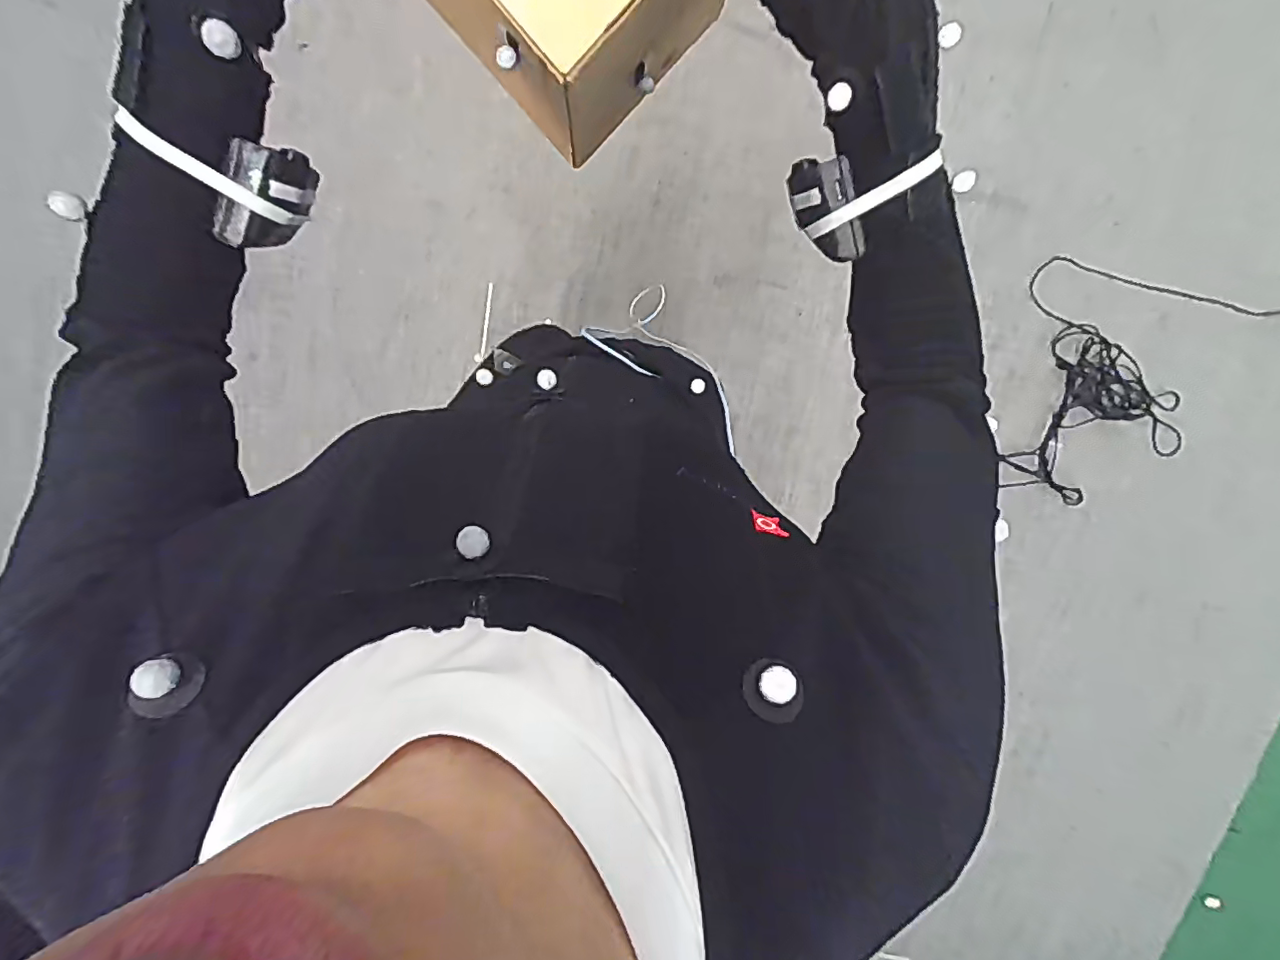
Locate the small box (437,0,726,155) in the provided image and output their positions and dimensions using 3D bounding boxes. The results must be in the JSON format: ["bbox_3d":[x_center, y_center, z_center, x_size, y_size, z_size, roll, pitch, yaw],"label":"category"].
[{"bbox_3d":[-0.044,-0.356,0.348,0.168,0.176,0.179,-43,106,6],"label":"small box"}]
